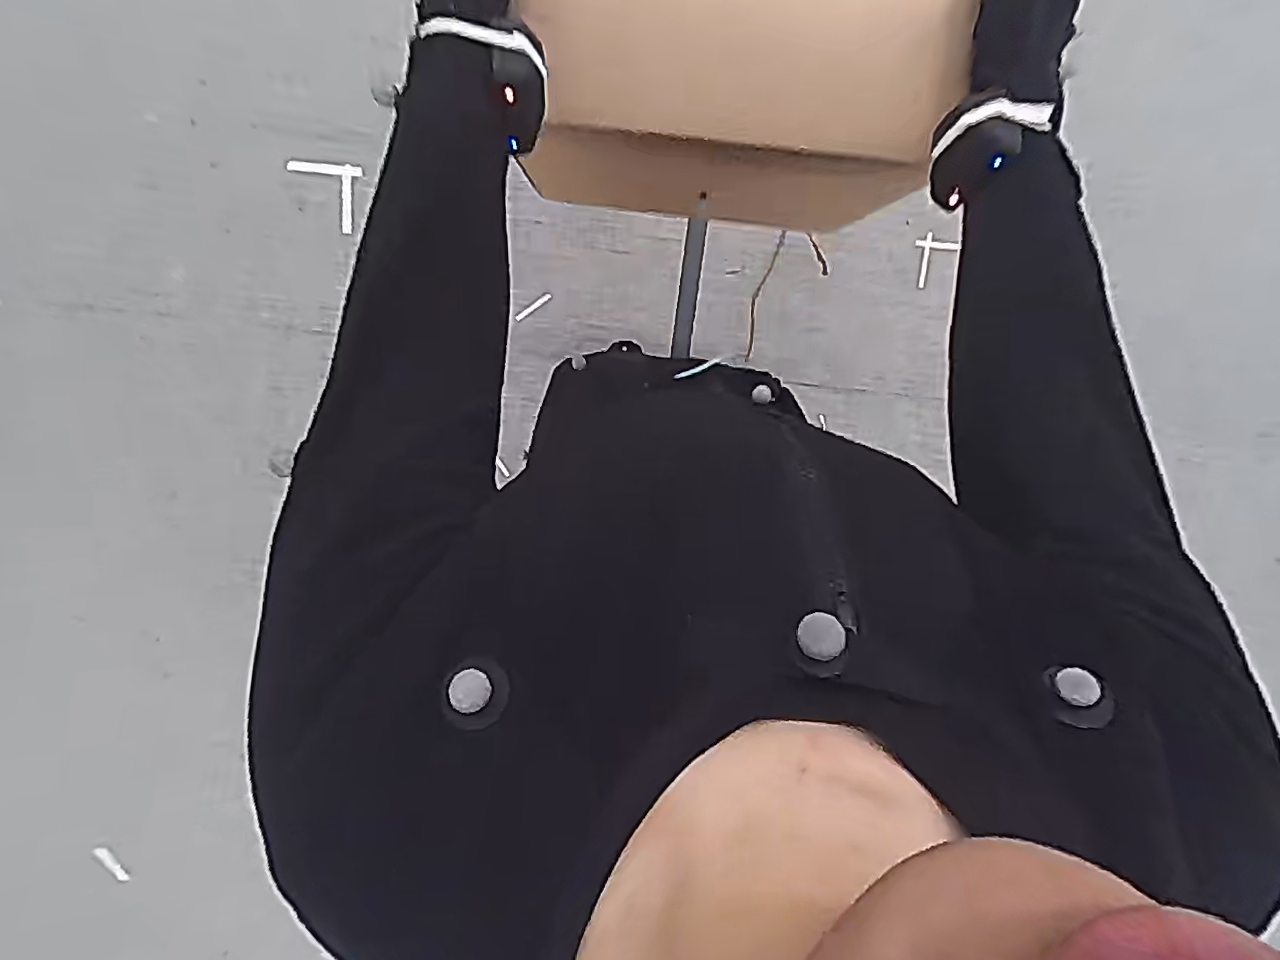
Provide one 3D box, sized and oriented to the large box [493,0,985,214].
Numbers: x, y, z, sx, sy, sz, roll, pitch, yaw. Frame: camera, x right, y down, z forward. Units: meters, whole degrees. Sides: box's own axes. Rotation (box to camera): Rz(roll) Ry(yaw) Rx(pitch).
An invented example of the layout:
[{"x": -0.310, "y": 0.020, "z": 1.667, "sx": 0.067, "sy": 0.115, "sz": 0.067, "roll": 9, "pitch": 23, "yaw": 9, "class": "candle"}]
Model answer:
[{"x": 0.088, "y": -0.487, "z": 0.562, "sx": 0.408, "sy": 0.320, "sz": 0.320, "roll": 6, "pitch": 105, "yaw": -2, "class": "large box"}]
